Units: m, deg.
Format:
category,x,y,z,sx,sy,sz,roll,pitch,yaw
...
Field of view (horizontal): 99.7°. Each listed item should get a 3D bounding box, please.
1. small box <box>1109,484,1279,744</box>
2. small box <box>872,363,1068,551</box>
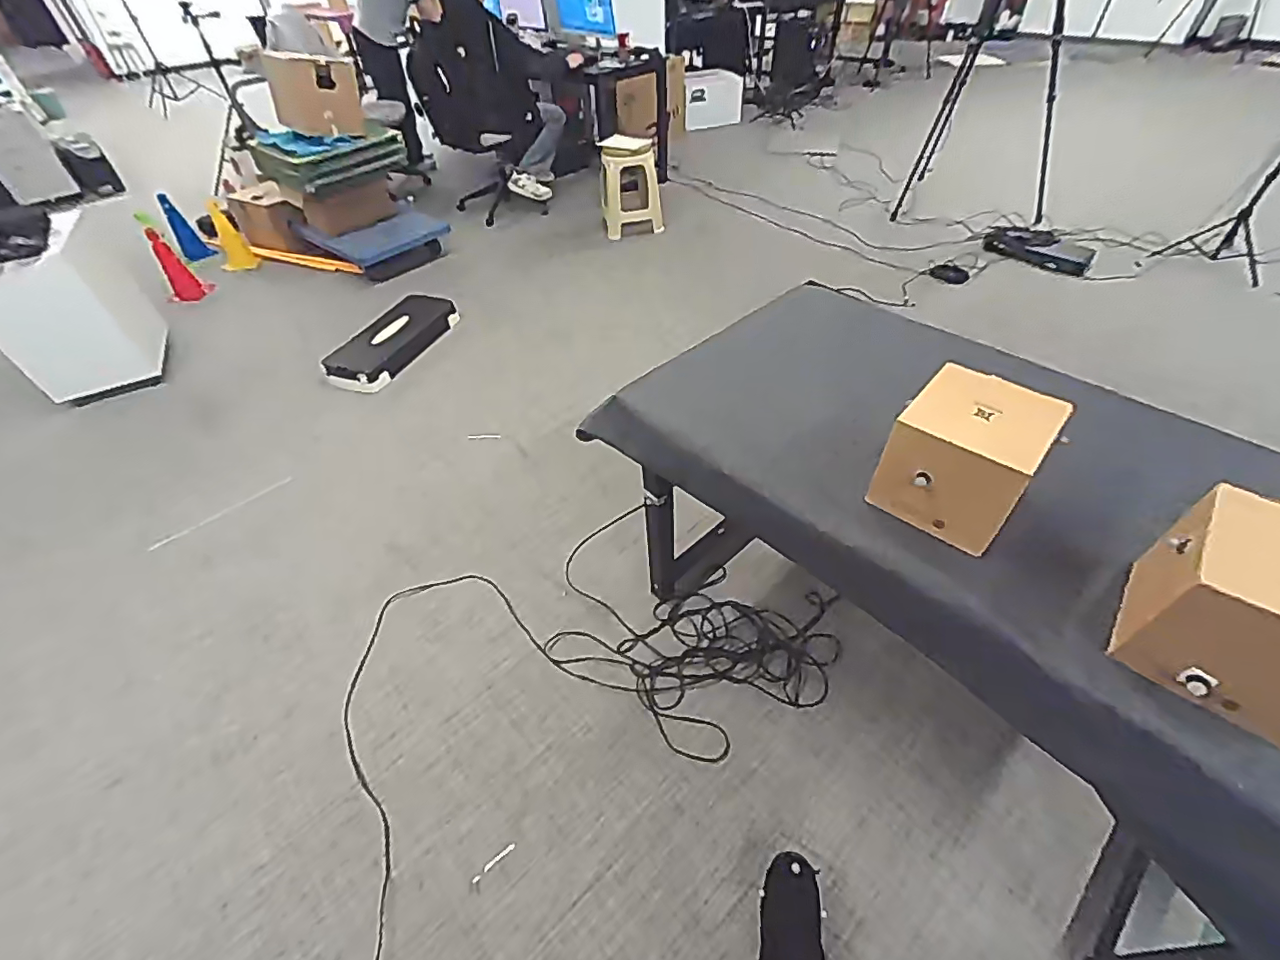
category,x,y,z,sx,sy,sz,roll,pitch,yaw
small box,0.661,0.143,0.588,0.168,0.176,0.179,30,55,29
small box,0.454,-0.032,0.768,0.168,0.176,0.179,32,55,29
